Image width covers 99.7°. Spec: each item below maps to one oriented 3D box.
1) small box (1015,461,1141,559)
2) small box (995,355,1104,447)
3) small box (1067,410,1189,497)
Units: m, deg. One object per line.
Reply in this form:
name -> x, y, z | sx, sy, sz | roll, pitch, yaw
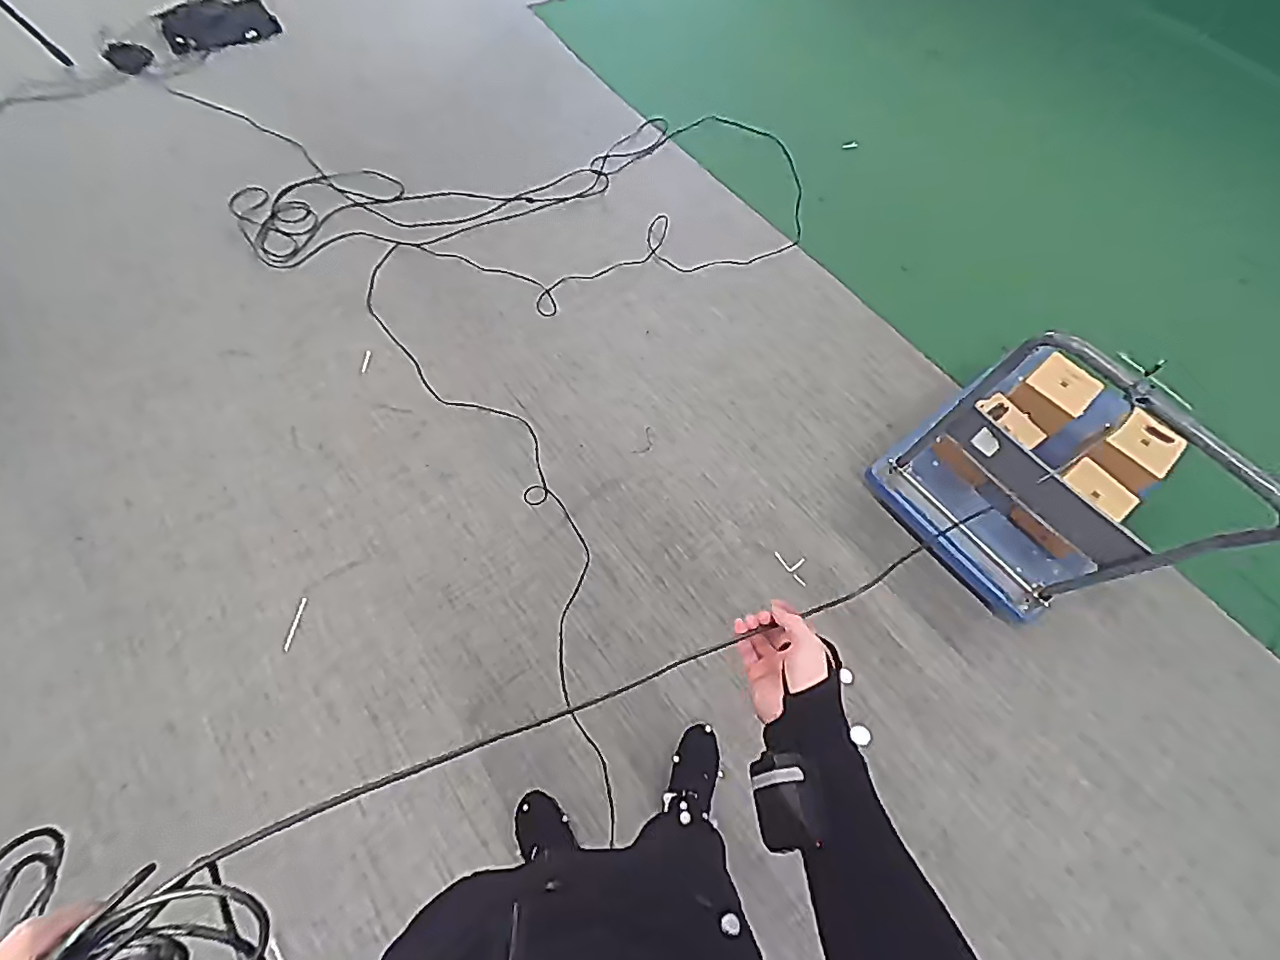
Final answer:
small box -> 1.176, 0.085, 1.469 | 0.179, 0.176, 0.168 | -34, 70, -17
small box -> 1.217, -0.231, 1.626 | 0.179, 0.176, 0.168 | -38, 72, -19
small box -> 1.388, -0.061, 1.551 | 0.179, 0.176, 0.168 | -39, 71, -18
